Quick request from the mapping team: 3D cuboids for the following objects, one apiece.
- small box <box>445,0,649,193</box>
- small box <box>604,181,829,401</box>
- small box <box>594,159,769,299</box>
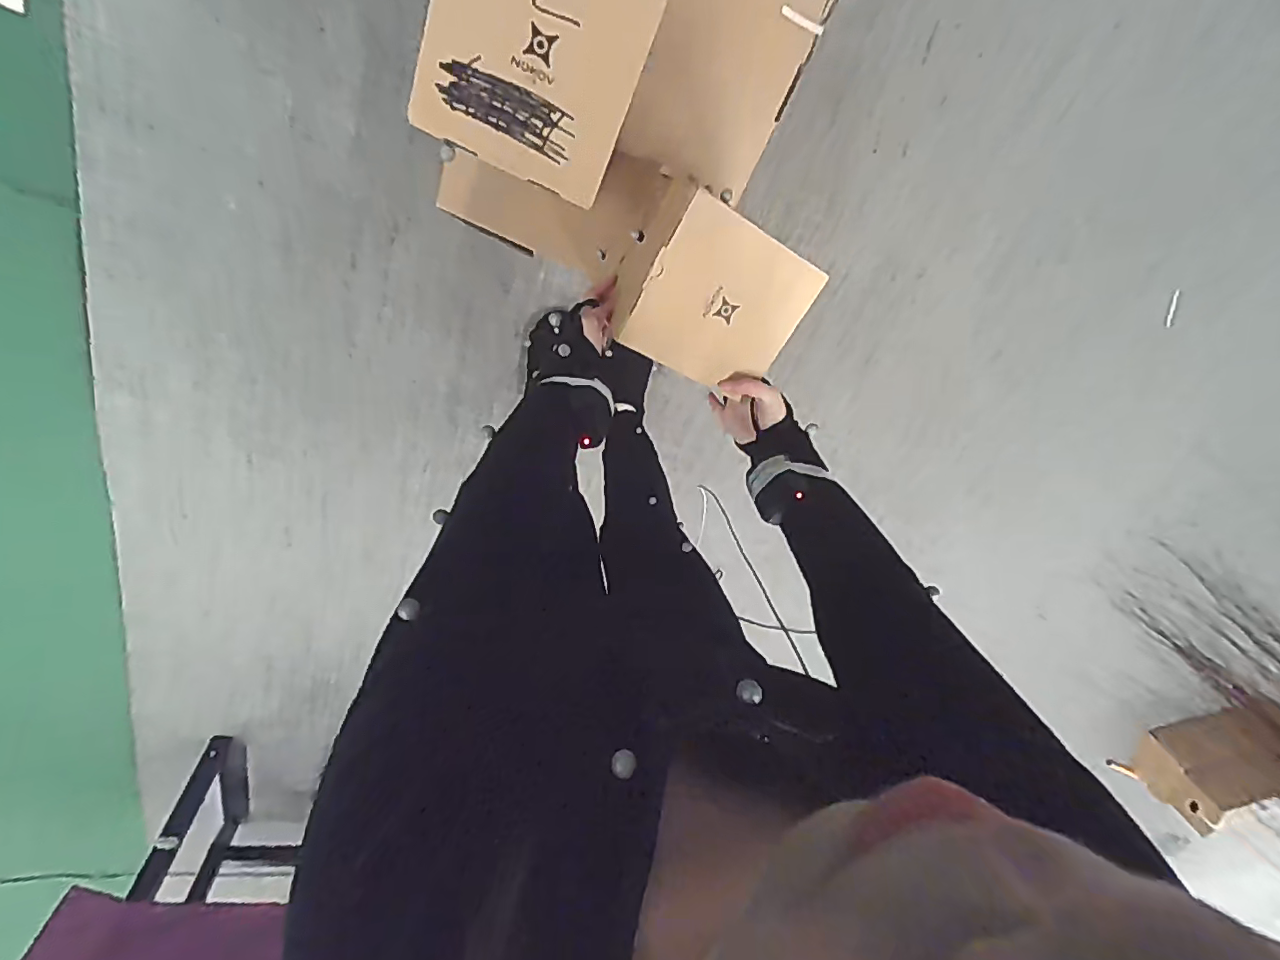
[{"bbox_3d":[-0.111,-0.471,0.638,0.168,0.176,0.179,21,115,-20],"label":"small box"},{"bbox_3d":[0.074,-0.225,0.631,0.179,0.176,0.168,21,116,-22],"label":"small box"},{"bbox_3d":[0.044,-0.321,0.759,0.168,0.176,0.179,21,115,-23],"label":"small box"}]
